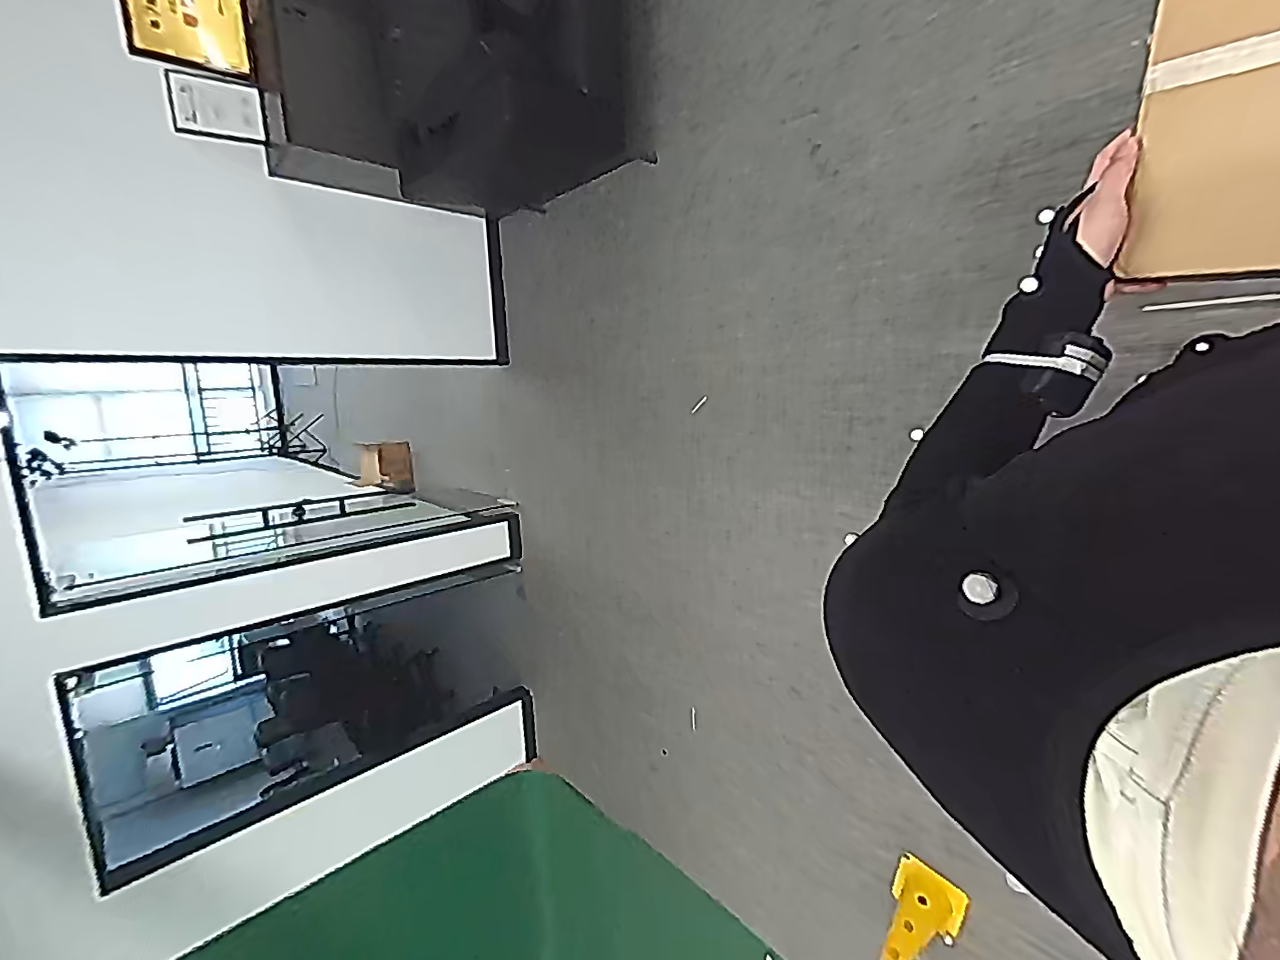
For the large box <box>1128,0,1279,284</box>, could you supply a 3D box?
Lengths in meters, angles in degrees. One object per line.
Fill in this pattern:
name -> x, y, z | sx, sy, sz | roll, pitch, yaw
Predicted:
large box -> 0.678, -0.333, 0.408 | 0.408, 0.320, 0.320 | 14, 114, 46
